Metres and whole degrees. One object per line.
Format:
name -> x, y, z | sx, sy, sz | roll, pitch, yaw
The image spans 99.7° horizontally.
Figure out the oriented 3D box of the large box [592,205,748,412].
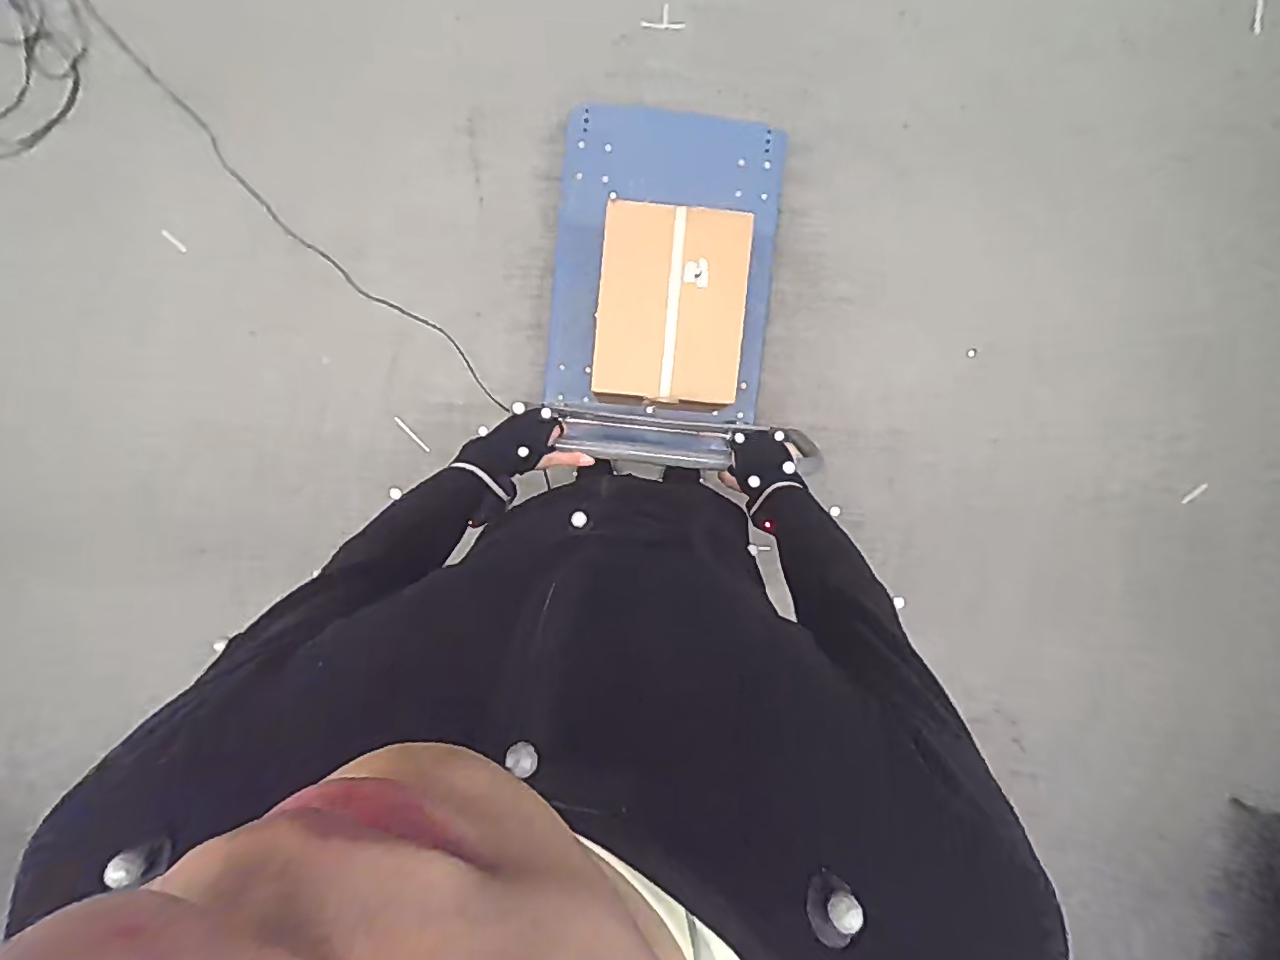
large box -> 0.063, -0.383, 1.308 | 0.320, 0.320, 0.408 | 5, 92, -2
